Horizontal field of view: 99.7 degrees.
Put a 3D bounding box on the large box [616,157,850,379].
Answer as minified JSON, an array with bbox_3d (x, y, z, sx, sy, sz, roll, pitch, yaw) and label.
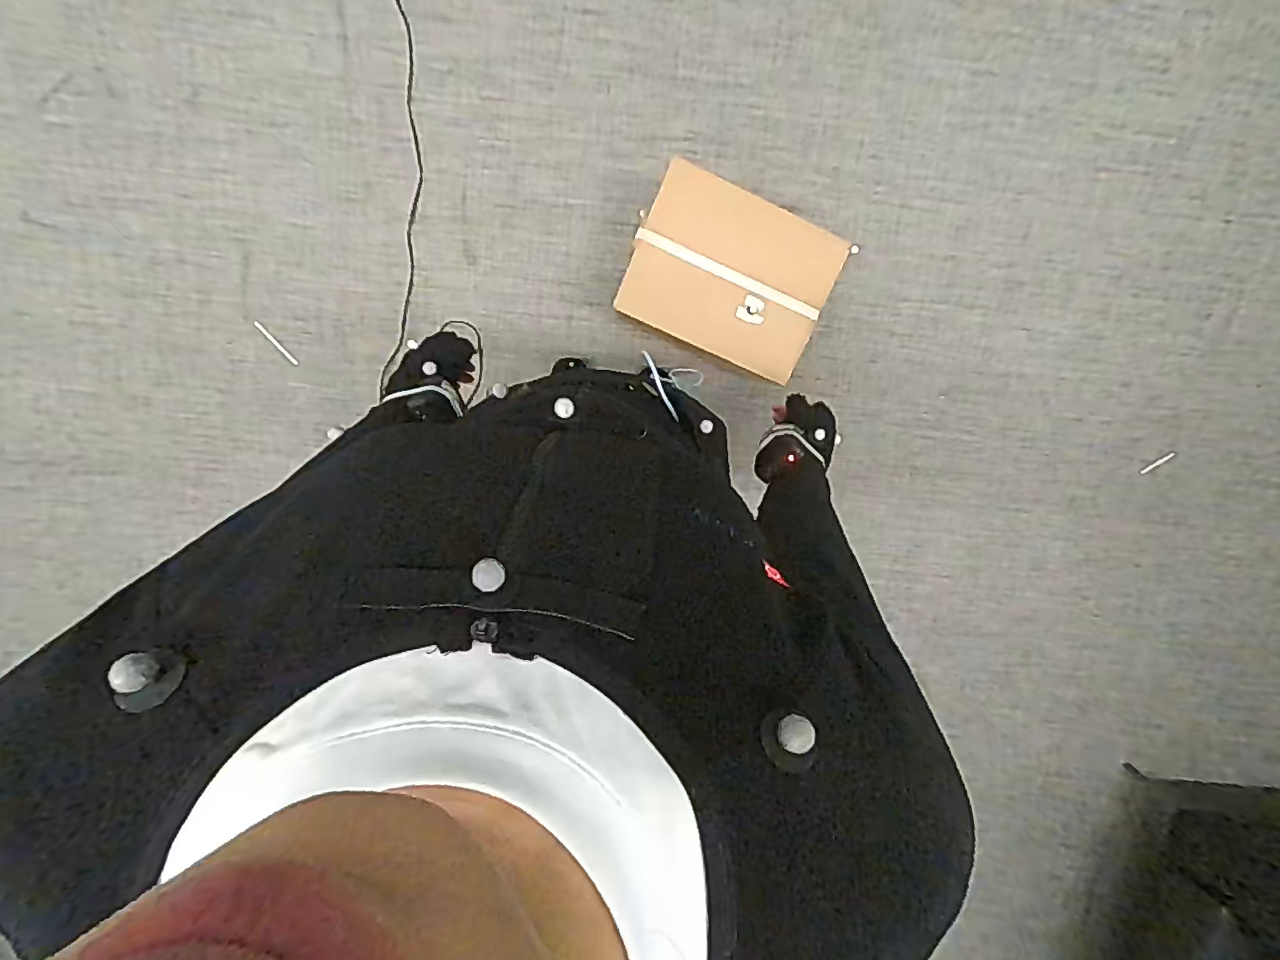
[{"bbox_3d":[0.182,-0.457,1.248,0.408,0.320,0.320,22,102,-8],"label":"large box"}]
